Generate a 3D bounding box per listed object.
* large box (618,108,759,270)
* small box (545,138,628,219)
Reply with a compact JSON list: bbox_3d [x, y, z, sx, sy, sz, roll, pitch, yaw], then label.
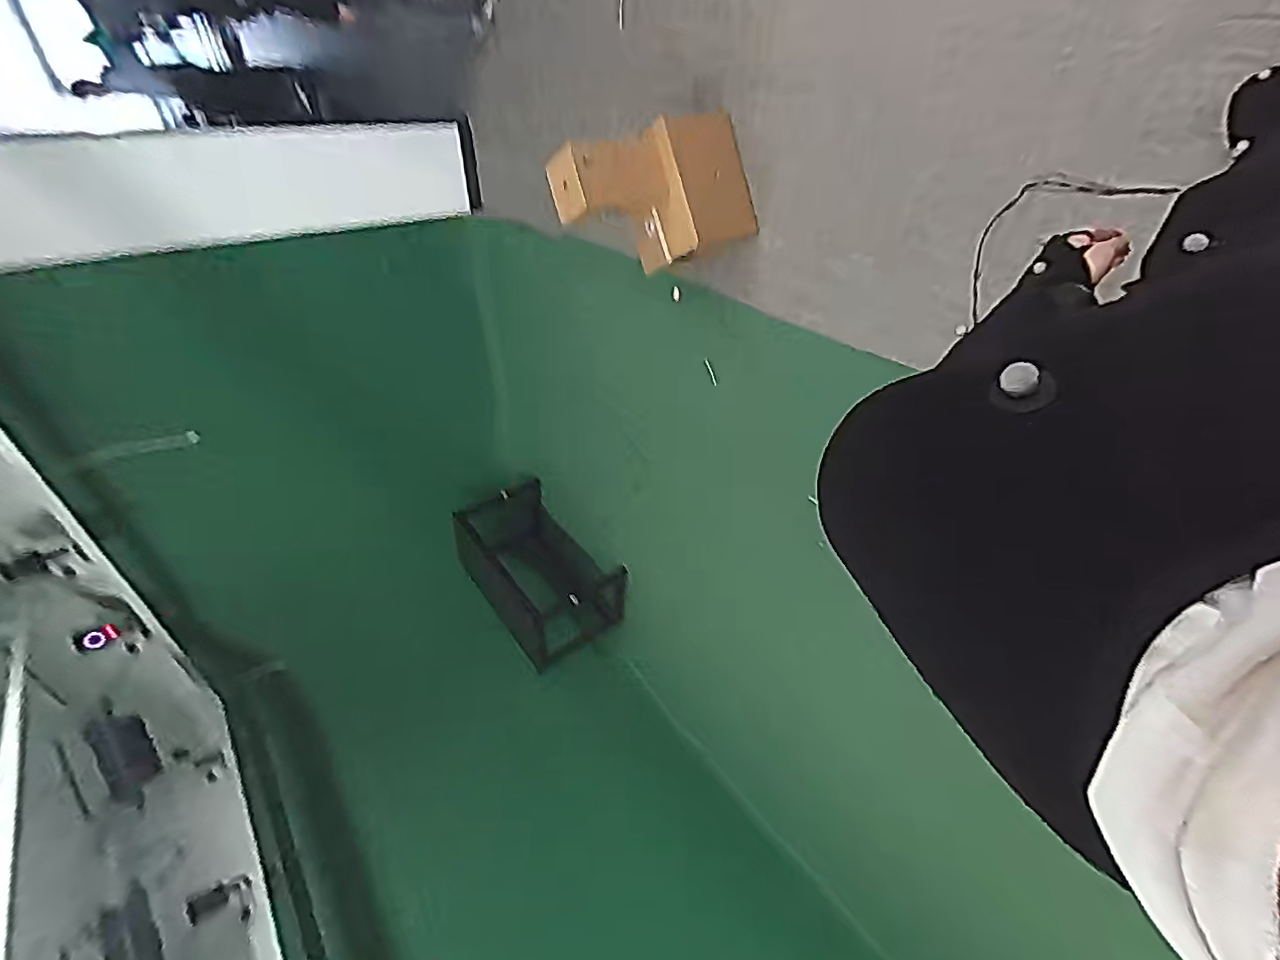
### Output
[{"bbox_3d":[0.165,-1.023,1.921,0.320,0.320,0.408,-2,111,57],"label":"large box"},{"bbox_3d":[-0.165,-0.936,1.680,0.168,0.176,0.179,6,116,55],"label":"small box"}]
